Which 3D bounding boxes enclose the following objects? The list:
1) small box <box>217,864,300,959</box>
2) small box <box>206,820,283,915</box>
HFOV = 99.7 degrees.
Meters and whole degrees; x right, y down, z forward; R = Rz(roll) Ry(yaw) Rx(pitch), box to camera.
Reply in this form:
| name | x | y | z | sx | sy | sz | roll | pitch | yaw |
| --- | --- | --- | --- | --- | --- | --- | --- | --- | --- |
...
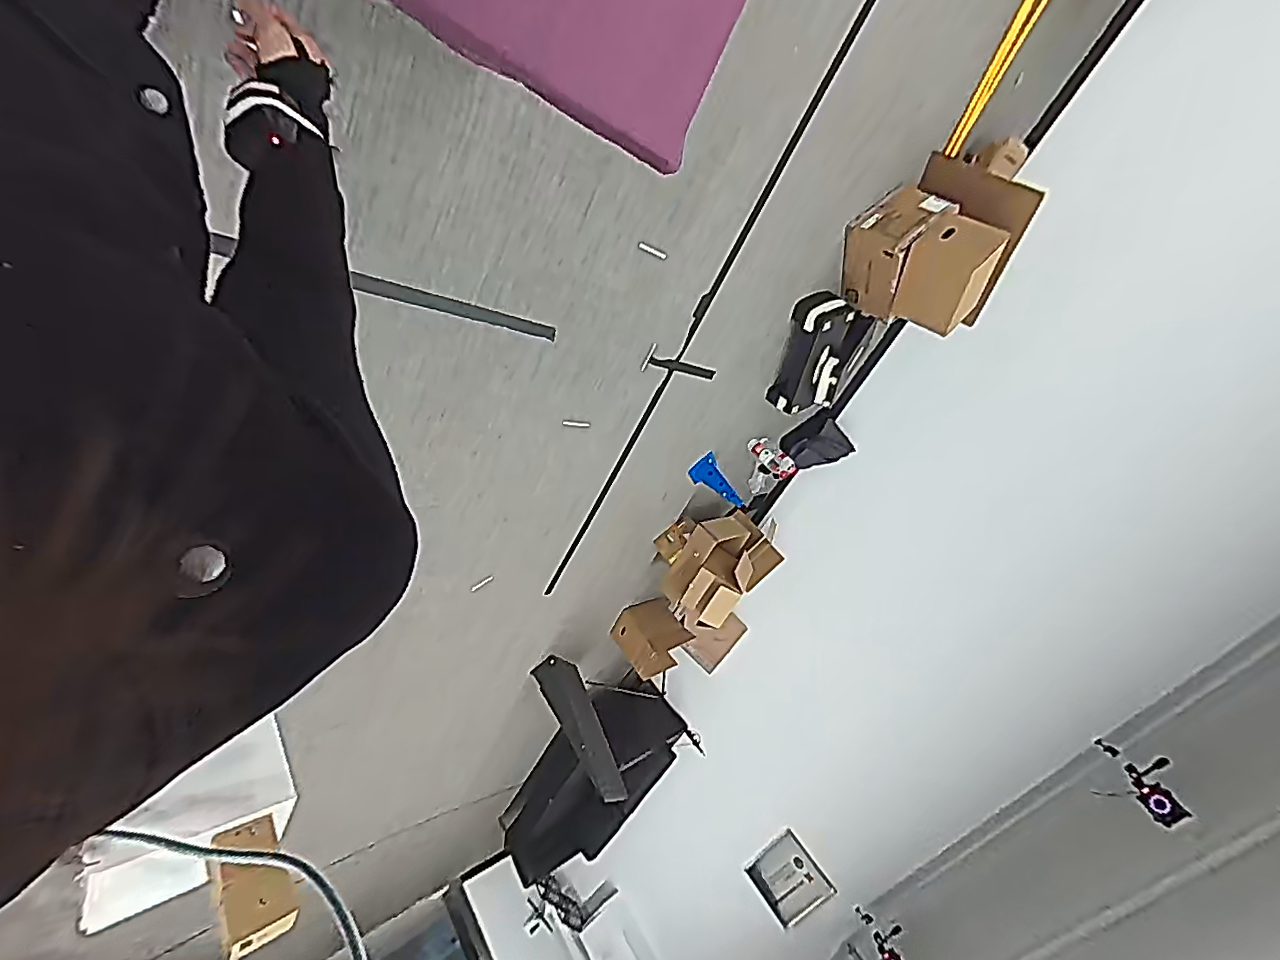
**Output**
| name | x | y | z | sx | sy | sz | roll | pitch | yaw |
| --- | --- | --- | --- | --- | --- | --- | --- | --- | --- |
| small box | -1.216 | 1.381 | 1.717 | 0.179 | 0.176 | 0.168 | -5 | 134 | -49 |
| small box | -1.318 | 1.279 | 1.795 | 0.168 | 0.176 | 0.179 | 1 | 128 | -51 |
